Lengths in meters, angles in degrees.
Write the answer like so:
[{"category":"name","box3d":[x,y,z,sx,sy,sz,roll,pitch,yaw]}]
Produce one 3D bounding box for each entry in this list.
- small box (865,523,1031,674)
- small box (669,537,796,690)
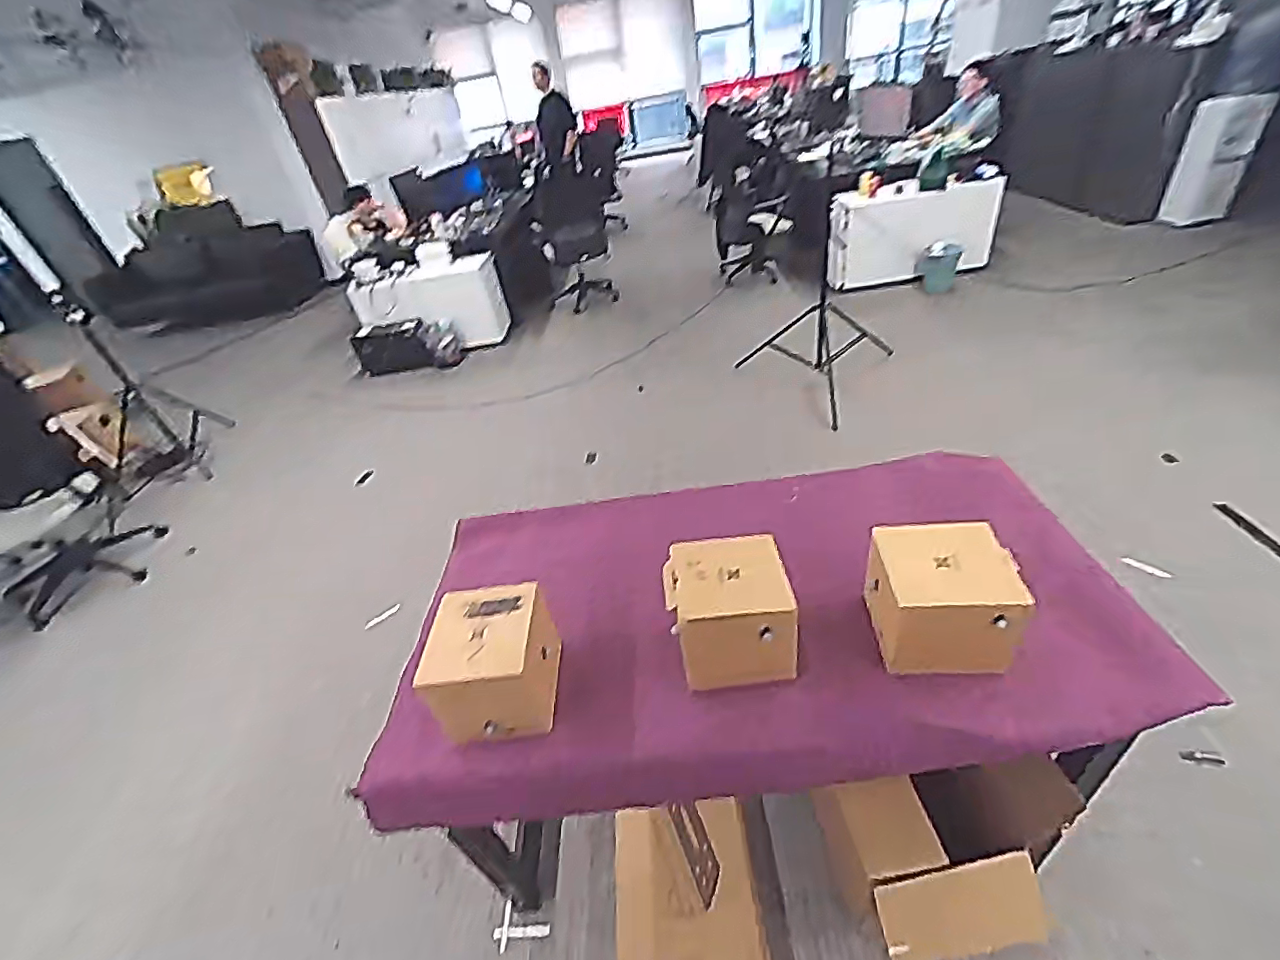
[{"category":"small box","box3d":[0.463,0.187,0.849,0.179,0.176,0.168,-4,37,9]},{"category":"small box","box3d":[0.148,0.219,0.887,0.179,0.176,0.168,-9,34,3]}]
